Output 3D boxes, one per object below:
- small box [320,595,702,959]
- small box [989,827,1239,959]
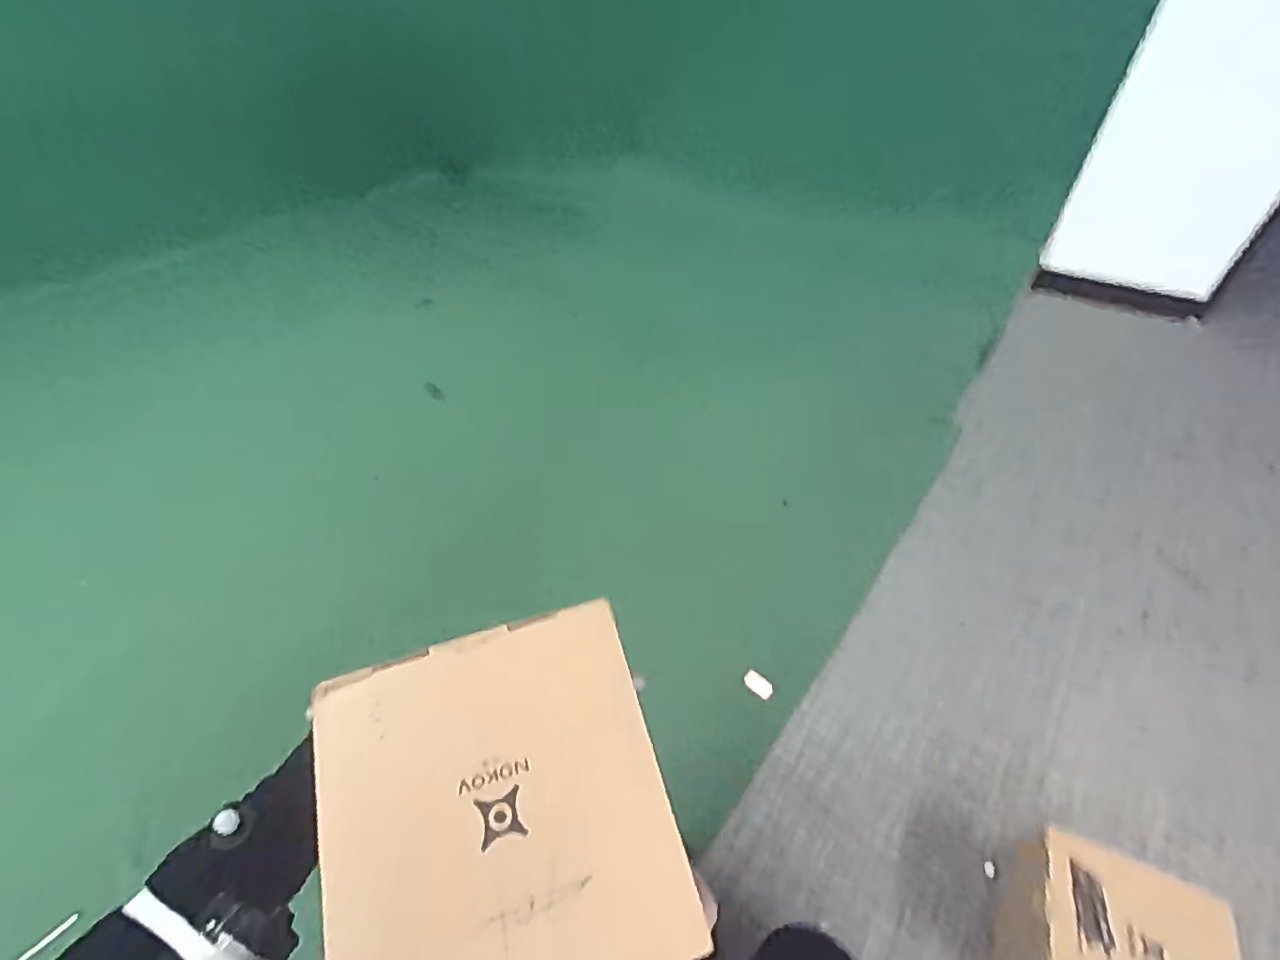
[{"bbox_3d":[-0.080,0.198,0.343,0.168,0.176,0.179,-14,64,-13],"label":"small box"},{"bbox_3d":[0.526,0.547,0.620,0.179,0.176,0.168,18,48,20],"label":"small box"}]
